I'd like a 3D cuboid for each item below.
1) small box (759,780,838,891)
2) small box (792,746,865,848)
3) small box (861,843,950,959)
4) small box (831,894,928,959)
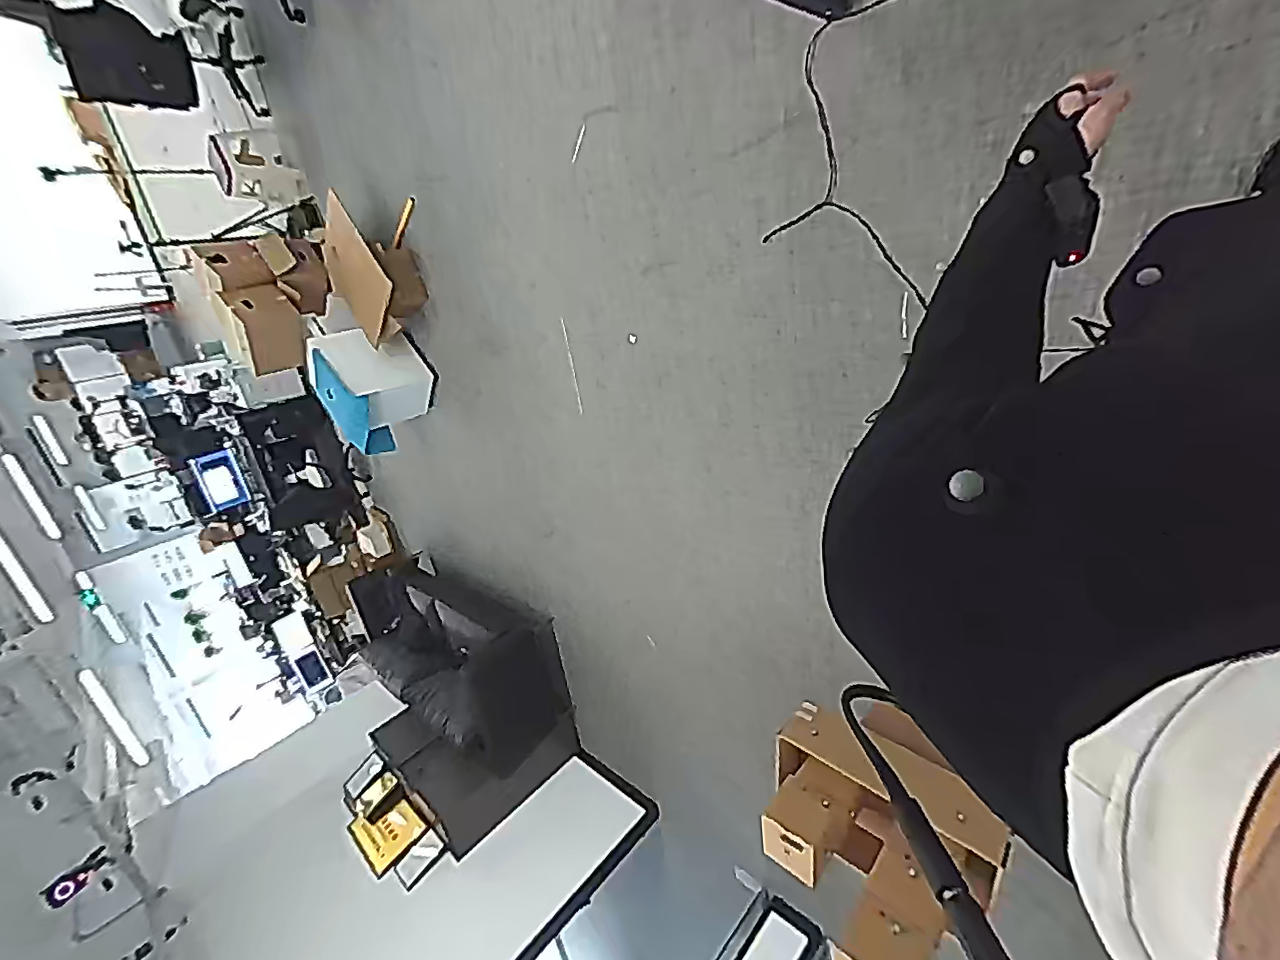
[{"bbox_3d":[0.466,1.031,1.586,0.168,0.176,0.179,14,120,42],"label":"small box"},{"bbox_3d":[0.585,0.981,1.689,0.168,0.176,0.179,19,123,40],"label":"small box"},{"bbox_3d":[0.681,1.100,1.393,0.168,0.176,0.179,14,120,41],"label":"small box"},{"bbox_3d":[0.569,1.155,1.288,0.168,0.176,0.179,14,121,41],"label":"small box"}]
